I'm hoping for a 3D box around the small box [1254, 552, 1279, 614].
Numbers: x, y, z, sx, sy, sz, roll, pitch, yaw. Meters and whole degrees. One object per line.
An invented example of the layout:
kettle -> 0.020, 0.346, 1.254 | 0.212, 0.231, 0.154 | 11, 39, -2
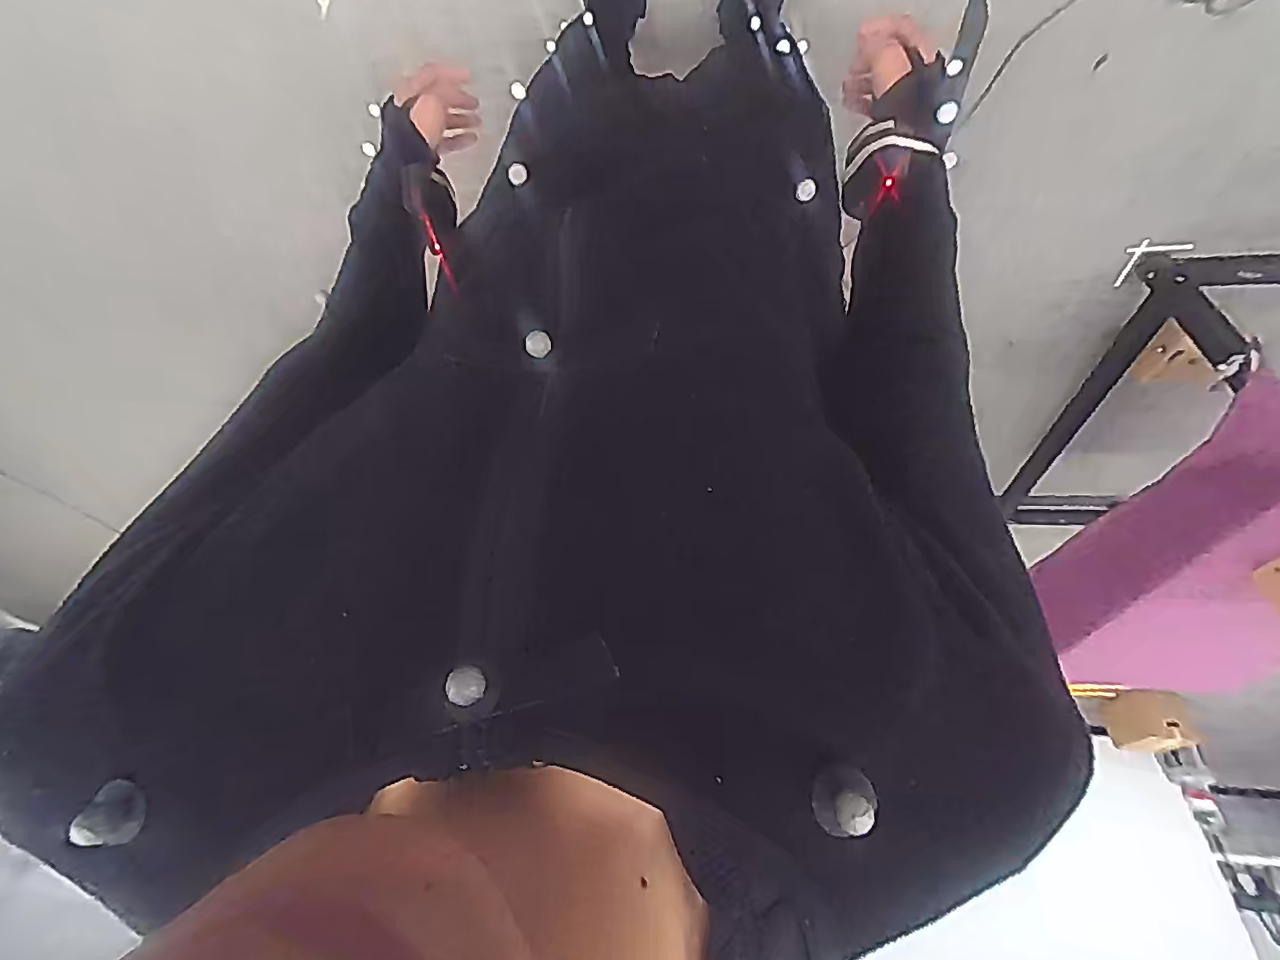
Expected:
small box -> 1.490, 0.223, 1.134 | 0.179, 0.176, 0.168 | 1, 143, 8
